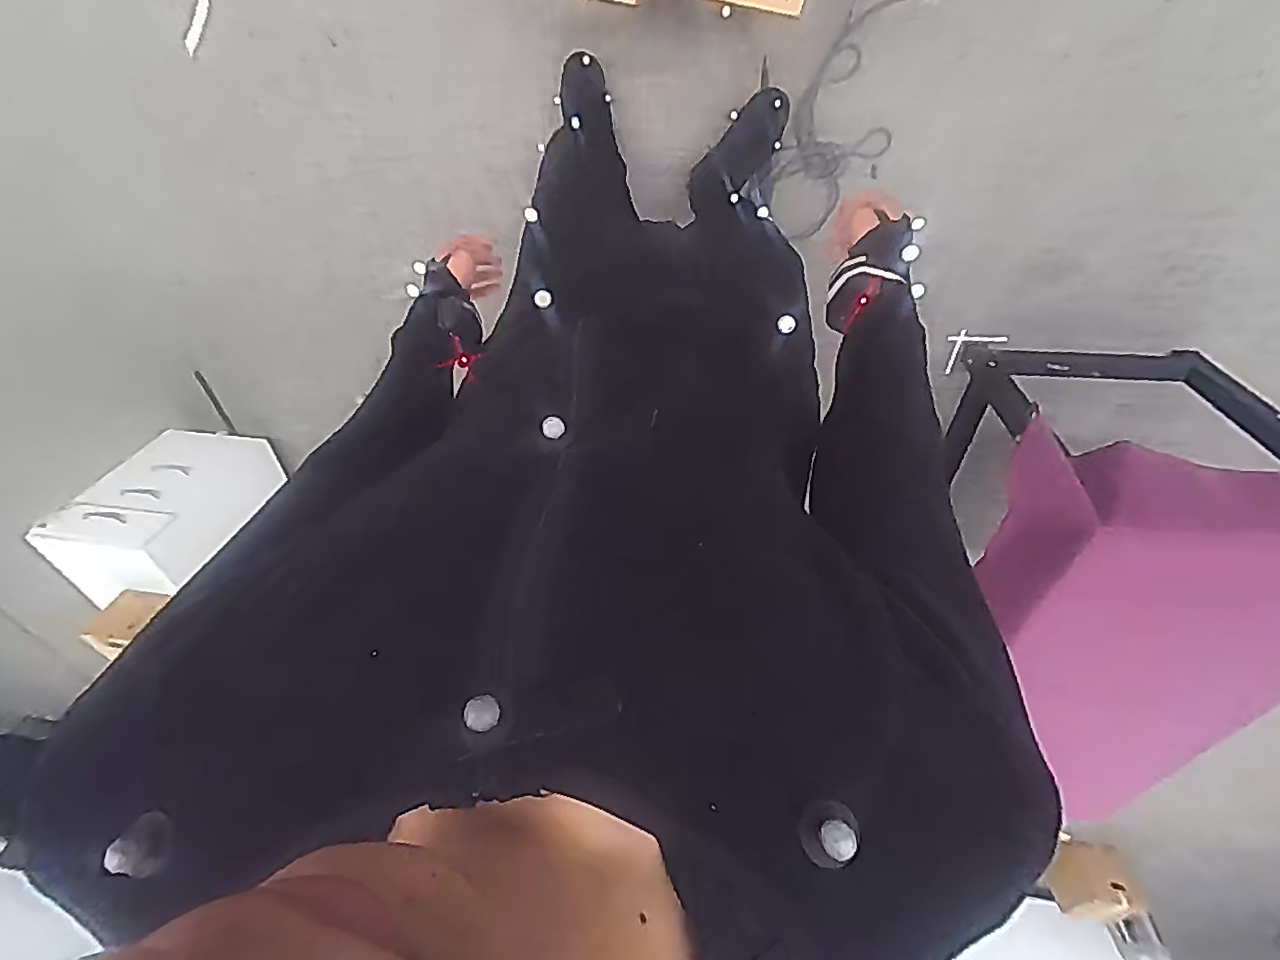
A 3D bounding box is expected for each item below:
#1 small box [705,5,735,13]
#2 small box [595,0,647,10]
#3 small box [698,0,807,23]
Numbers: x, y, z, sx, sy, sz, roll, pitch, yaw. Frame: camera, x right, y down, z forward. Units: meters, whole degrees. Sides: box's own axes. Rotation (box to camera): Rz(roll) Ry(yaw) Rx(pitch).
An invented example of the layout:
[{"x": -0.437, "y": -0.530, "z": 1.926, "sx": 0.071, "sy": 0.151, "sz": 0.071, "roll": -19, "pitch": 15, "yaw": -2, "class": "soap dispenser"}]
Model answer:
[{"x": 0.208, "y": -0.970, "z": 0.987, "sx": 0.168, "sy": 0.176, "sz": 0.179, "roll": 5, "pitch": 131, "yaw": 6, "class": "small box"}, {"x": -0.064, "y": -0.891, "z": 0.879, "sx": 0.179, "sy": 0.176, "sz": 0.168, "roll": 12, "pitch": 131, "yaw": 0, "class": "small box"}, {"x": 0.164, "y": -0.759, "z": 0.742, "sx": 0.168, "sy": 0.176, "sz": 0.179, "roll": 12, "pitch": 130, "yaw": 0, "class": "small box"}]
